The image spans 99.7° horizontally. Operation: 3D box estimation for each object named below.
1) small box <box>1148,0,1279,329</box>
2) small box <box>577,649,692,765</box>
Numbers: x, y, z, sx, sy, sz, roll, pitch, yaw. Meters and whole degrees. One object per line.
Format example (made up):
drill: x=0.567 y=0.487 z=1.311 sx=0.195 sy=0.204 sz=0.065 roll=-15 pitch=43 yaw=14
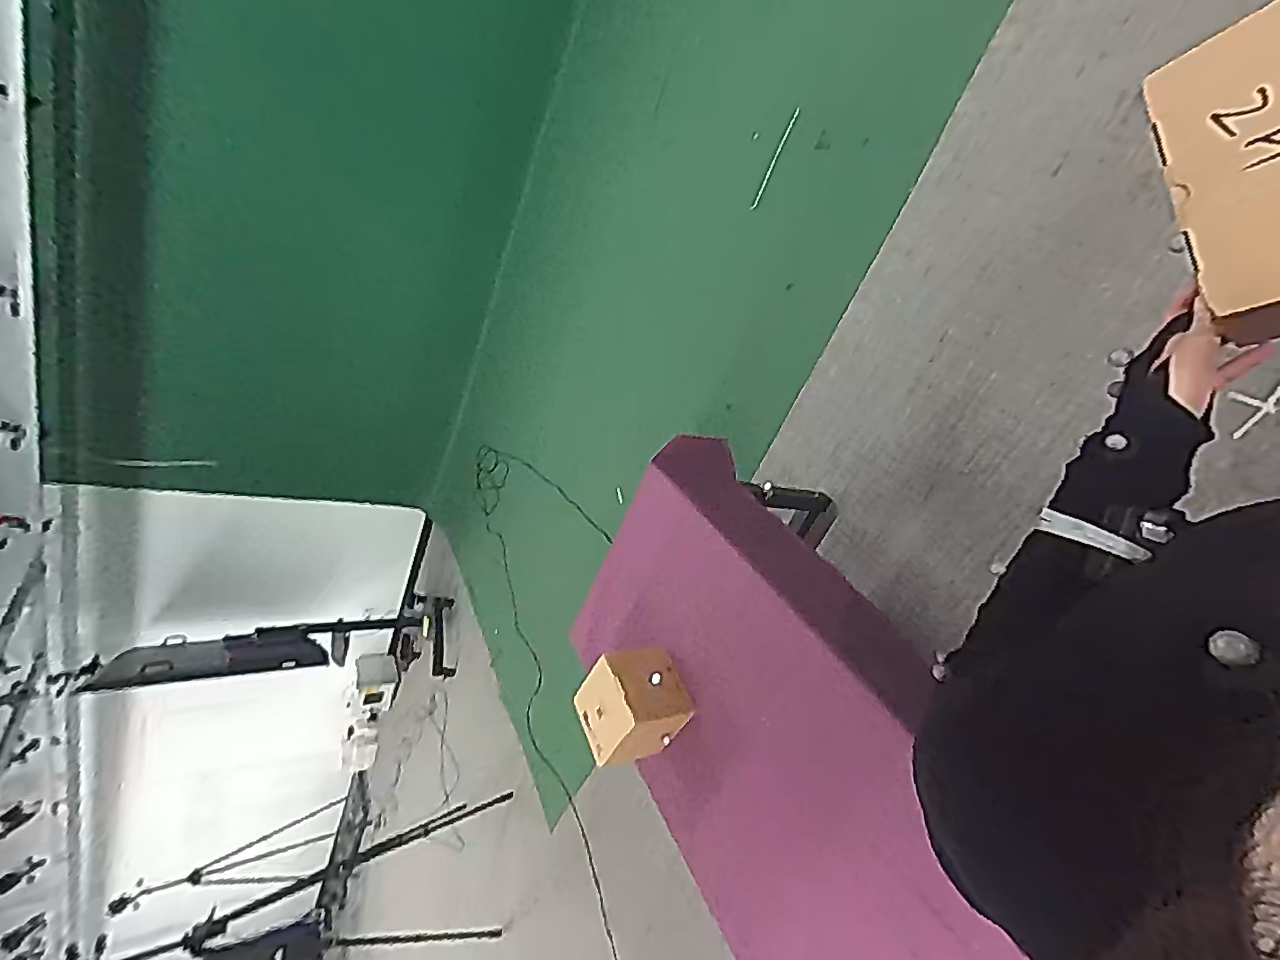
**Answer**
small box: x=0.454 y=-0.206 z=0.324 sx=0.179 sy=0.176 sz=0.168 roll=-16 pitch=79 yaw=53
small box: x=-0.009 y=0.493 z=1.193 sx=0.179 sy=0.176 sz=0.168 roll=-59 pitch=42 yaw=27
